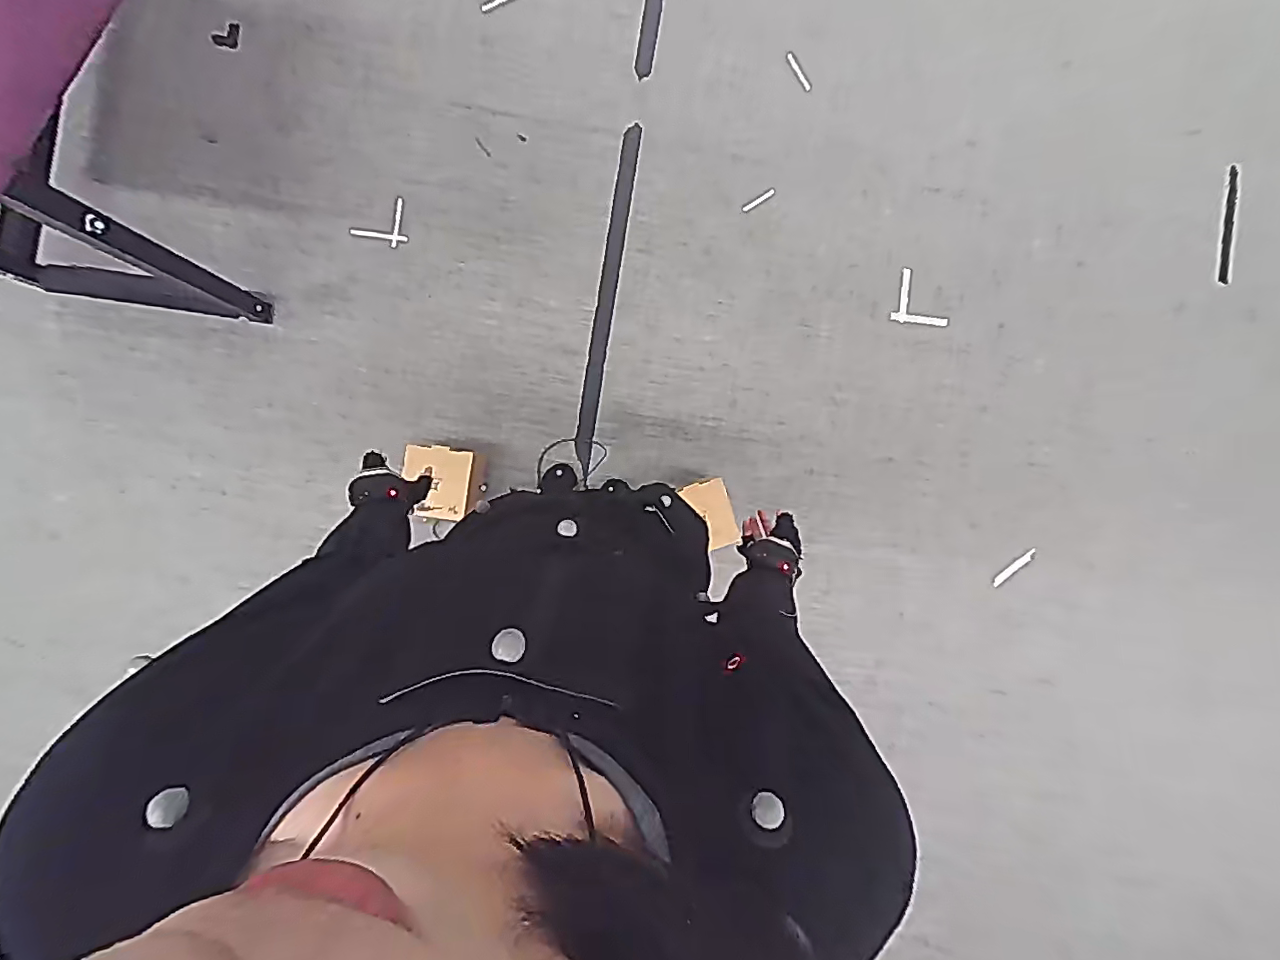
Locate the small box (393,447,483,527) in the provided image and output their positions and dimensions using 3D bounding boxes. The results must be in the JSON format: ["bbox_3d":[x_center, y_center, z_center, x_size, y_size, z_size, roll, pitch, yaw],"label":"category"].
[{"bbox_3d":[-0.514,0.022,1.402,0.168,0.176,0.179,8,87,-4],"label":"small box"}]

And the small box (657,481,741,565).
[{"bbox_3d":[0.150,0.110,1.451,0.168,0.176,0.179,-19,92,-2],"label":"small box"}]
